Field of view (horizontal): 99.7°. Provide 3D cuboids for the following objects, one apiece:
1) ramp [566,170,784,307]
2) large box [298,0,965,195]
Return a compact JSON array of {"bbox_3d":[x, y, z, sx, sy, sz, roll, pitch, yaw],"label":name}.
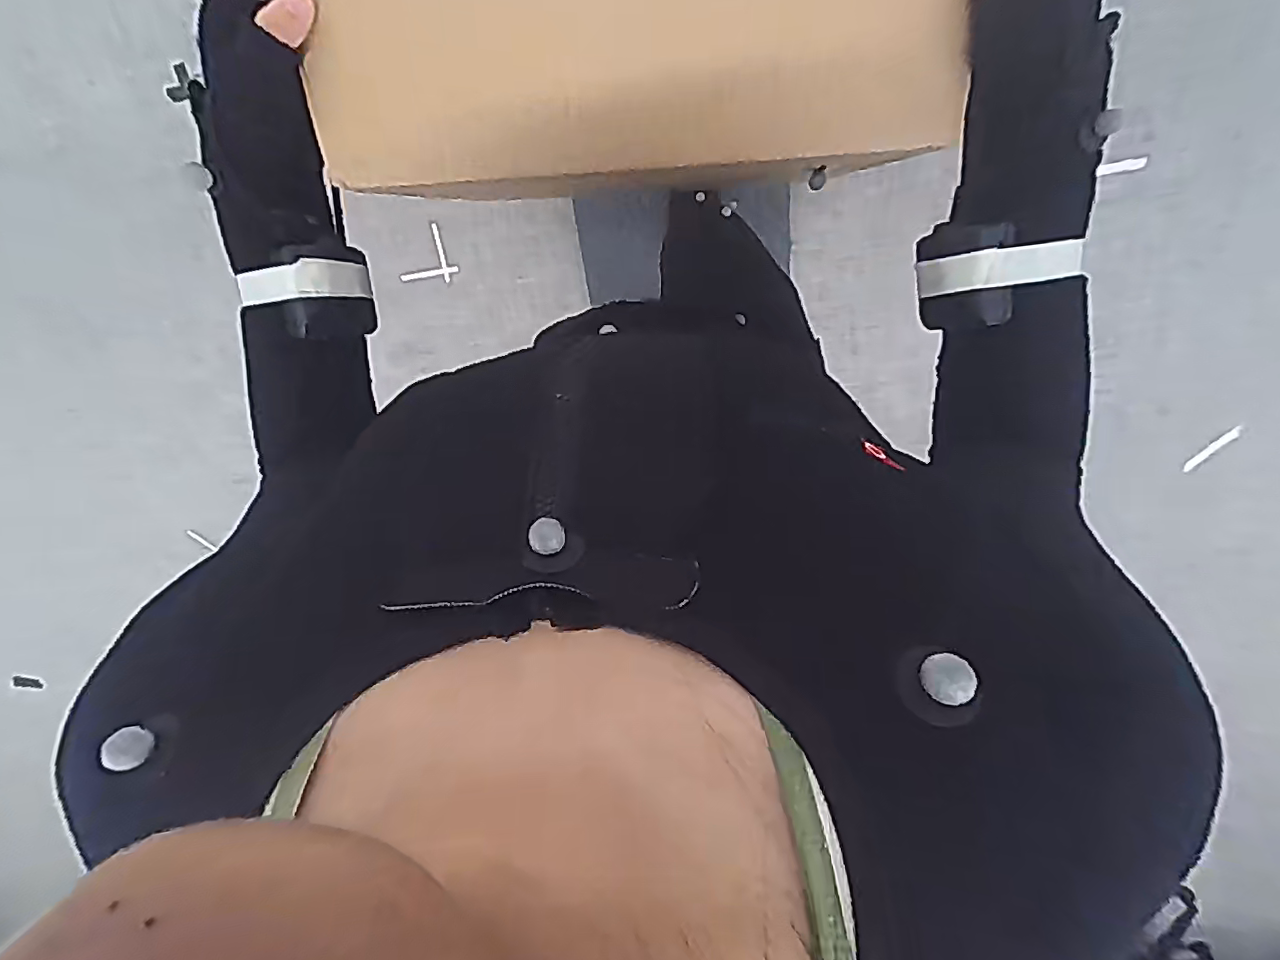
[{"bbox_3d":[0.045,-0.872,1.078,0.509,0.206,0.991,-7,114,6],"label":"ramp"},{"bbox_3d":[-0.005,-0.414,0.425,0.408,0.320,0.320,-2,115,3],"label":"large box"}]
